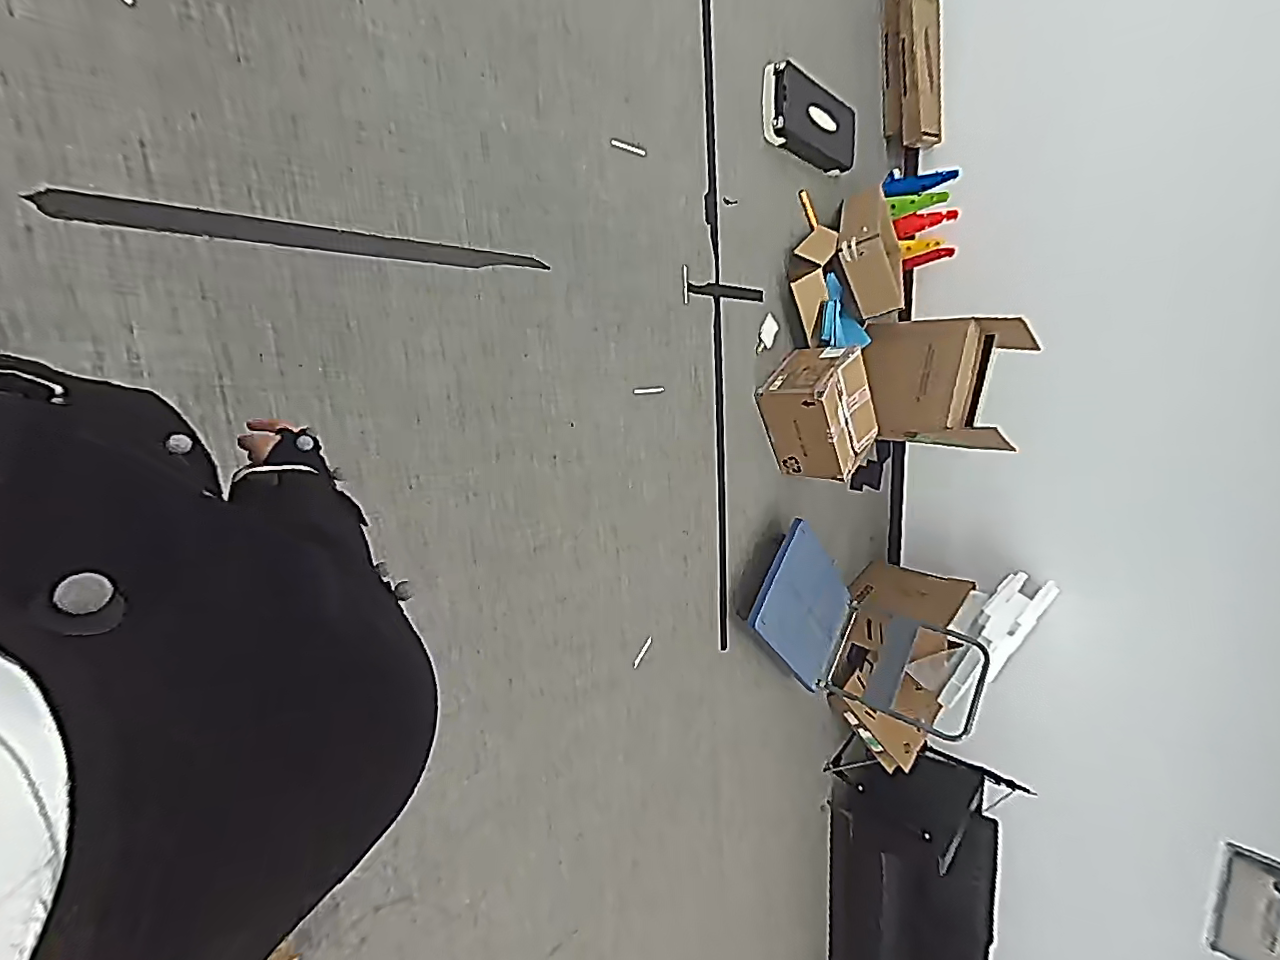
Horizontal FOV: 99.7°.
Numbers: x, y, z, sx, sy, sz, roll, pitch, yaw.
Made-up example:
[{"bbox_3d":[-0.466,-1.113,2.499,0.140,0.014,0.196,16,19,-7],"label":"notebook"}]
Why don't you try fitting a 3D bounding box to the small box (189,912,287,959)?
[{"bbox_3d":[-0.883,1.129,1.188,0.179,0.176,0.168,-13,105,-43],"label":"small box"}]
